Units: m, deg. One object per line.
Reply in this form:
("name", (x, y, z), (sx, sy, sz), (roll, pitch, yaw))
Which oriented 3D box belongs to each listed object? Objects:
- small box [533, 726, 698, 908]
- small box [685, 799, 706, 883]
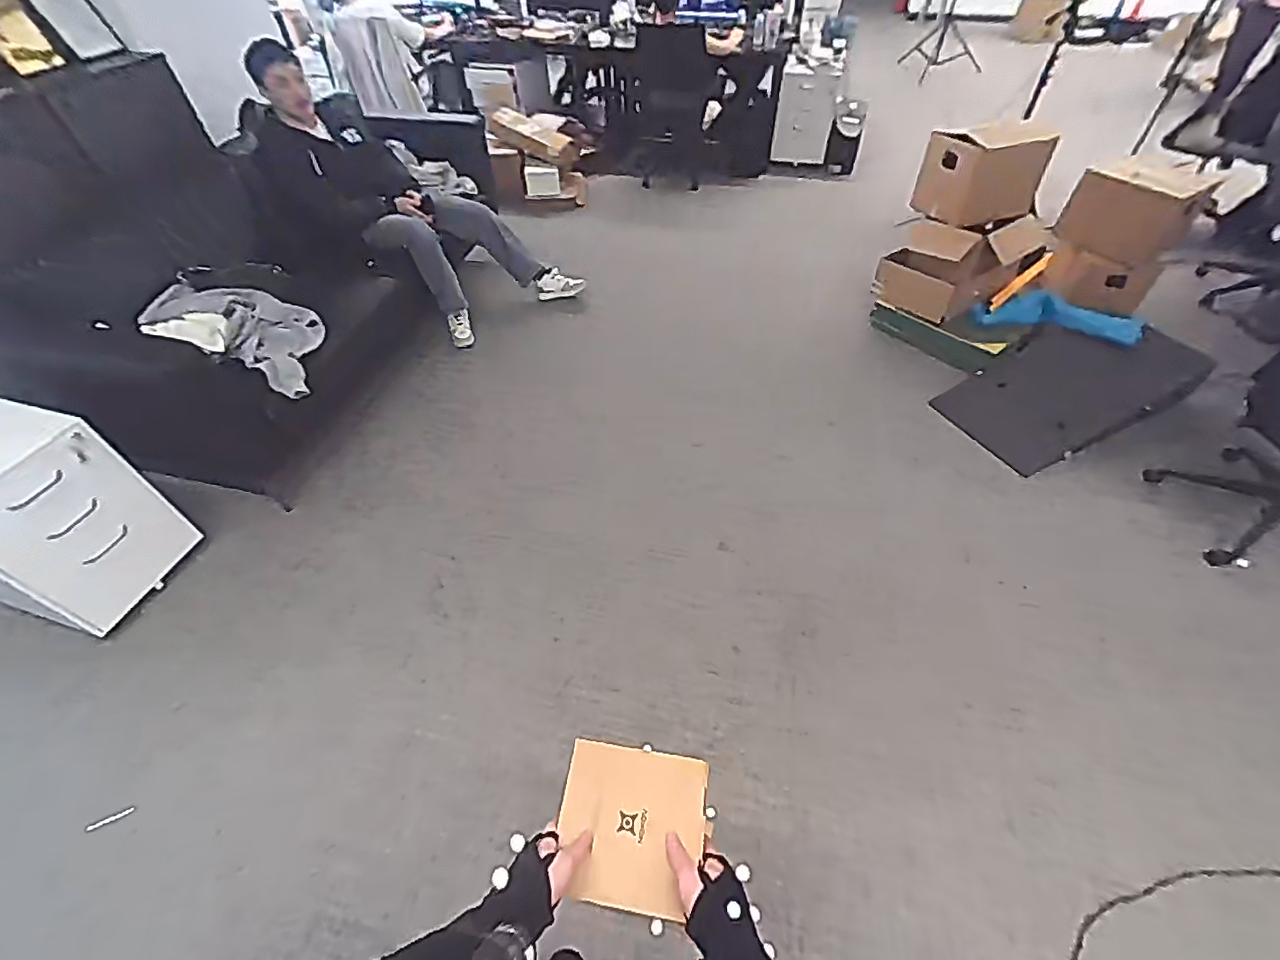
("small box", (-0.021, 0.449, 0.721), (0.179, 0.176, 0.168), (6, 52, 9))
("small box", (0.051, 0.824, 1.243), (0.179, 0.176, 0.168), (-8, 47, -3))
